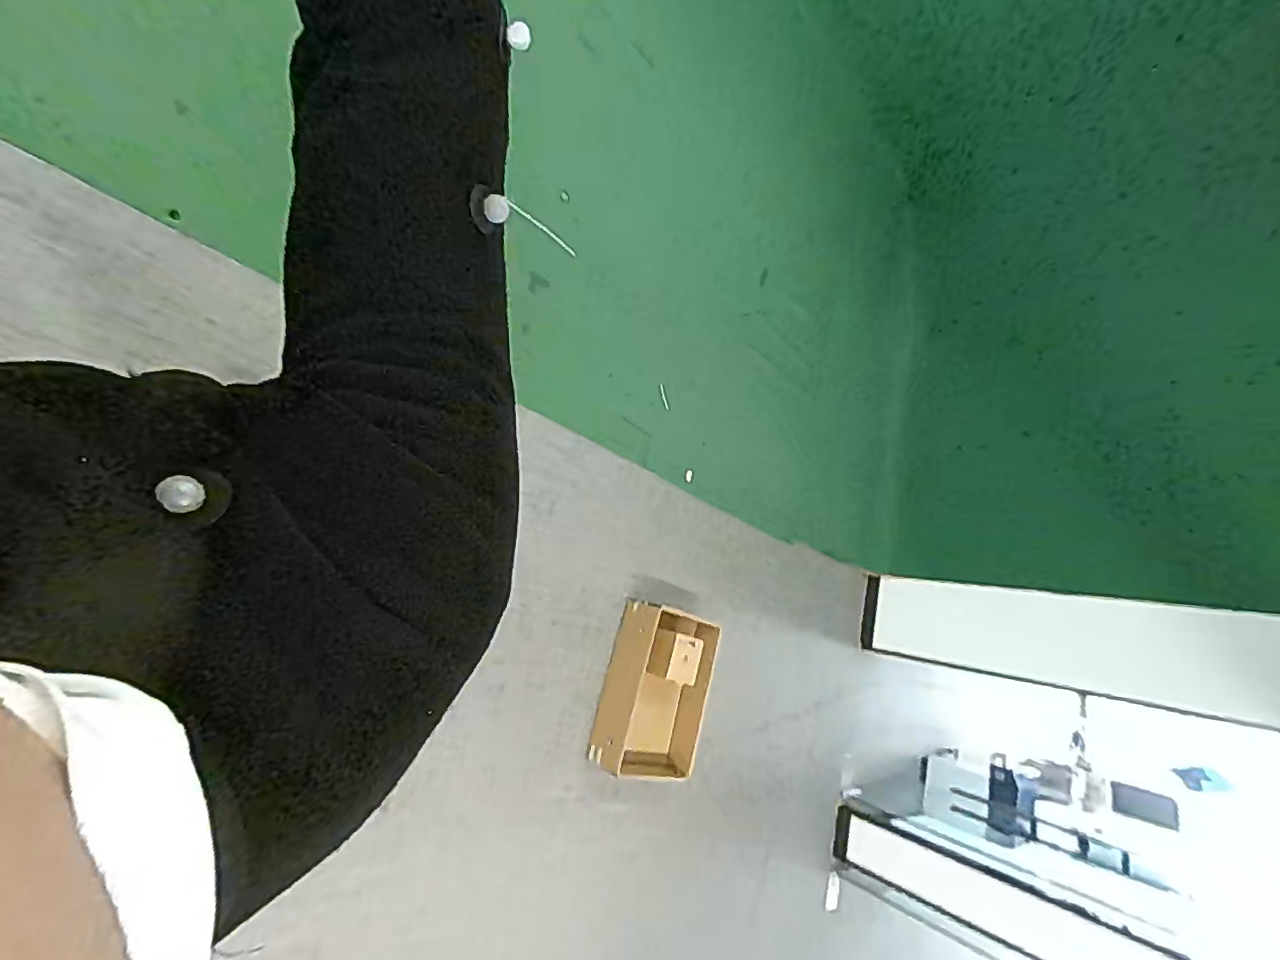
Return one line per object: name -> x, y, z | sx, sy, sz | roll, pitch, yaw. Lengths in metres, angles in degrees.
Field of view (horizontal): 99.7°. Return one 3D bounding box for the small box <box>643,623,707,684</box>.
small box -> 0.133, 0.686, 2.145 | 0.168, 0.176, 0.179 | 29, 71, -38
